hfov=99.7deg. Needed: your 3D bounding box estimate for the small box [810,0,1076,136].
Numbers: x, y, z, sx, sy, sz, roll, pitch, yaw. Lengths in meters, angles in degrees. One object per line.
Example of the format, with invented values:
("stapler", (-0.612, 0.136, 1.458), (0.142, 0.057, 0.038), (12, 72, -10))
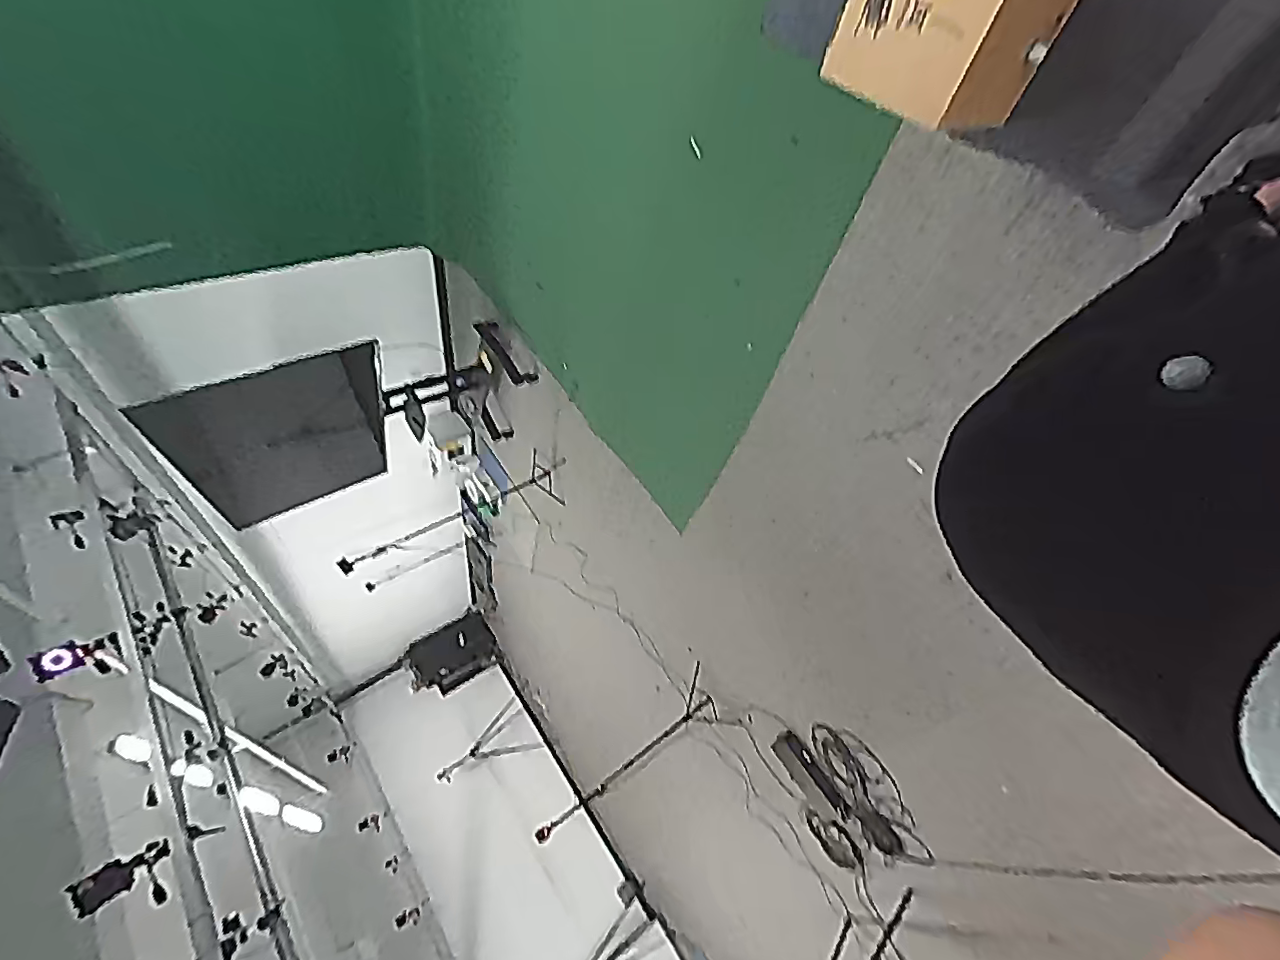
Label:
("small box", (0.335, -0.508, 0.602), (0.179, 0.176, 0.168), (49, 147, 25))
